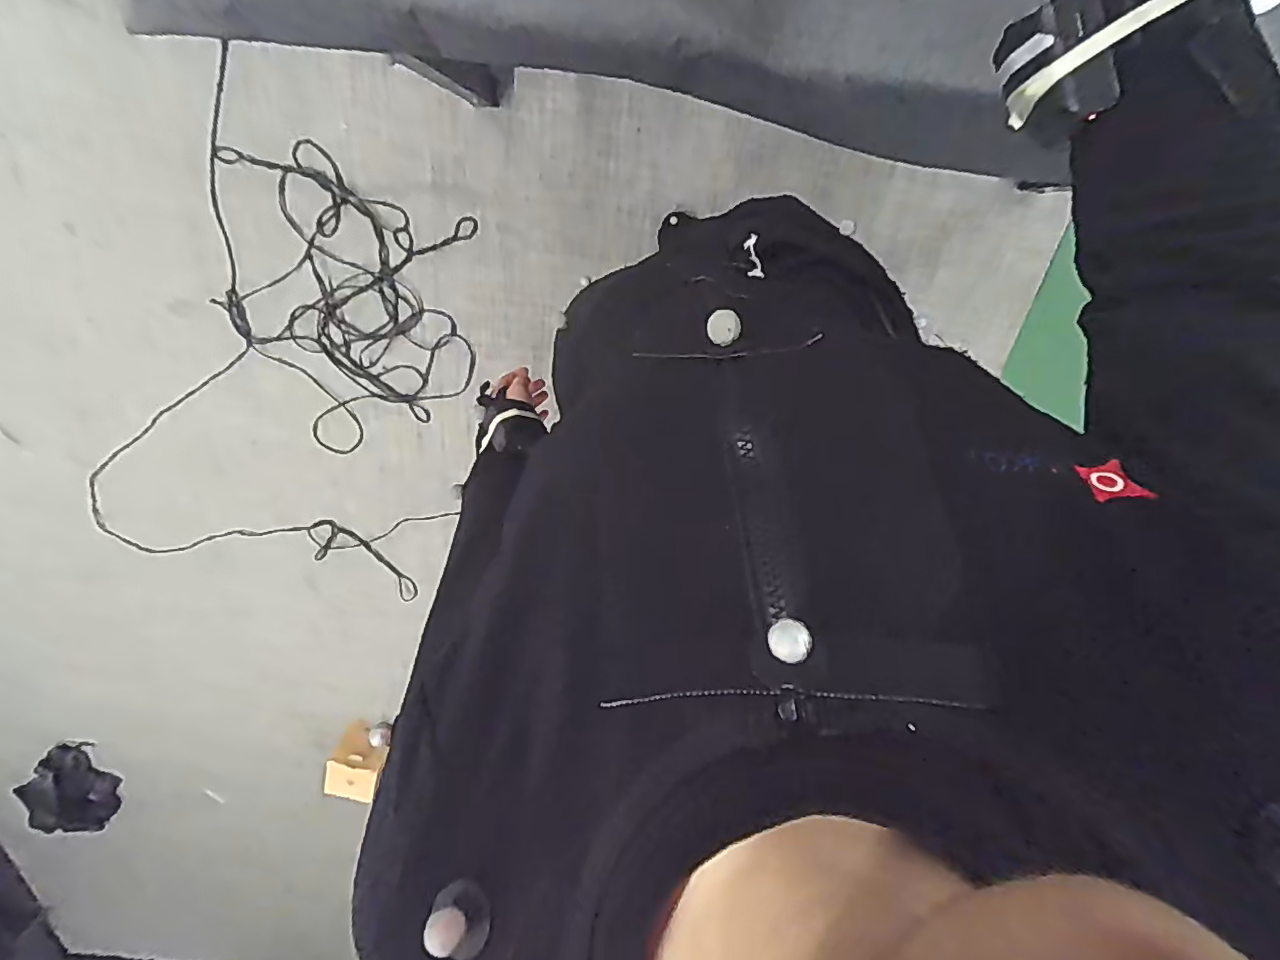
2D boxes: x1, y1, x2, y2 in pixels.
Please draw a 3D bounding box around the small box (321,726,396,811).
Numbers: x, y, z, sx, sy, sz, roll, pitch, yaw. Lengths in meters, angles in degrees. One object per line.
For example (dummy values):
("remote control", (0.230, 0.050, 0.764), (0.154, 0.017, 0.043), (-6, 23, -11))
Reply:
("small box", (-0.959, 0.986, 1.851), (0.168, 0.176, 0.179), (18, 115, -6))
